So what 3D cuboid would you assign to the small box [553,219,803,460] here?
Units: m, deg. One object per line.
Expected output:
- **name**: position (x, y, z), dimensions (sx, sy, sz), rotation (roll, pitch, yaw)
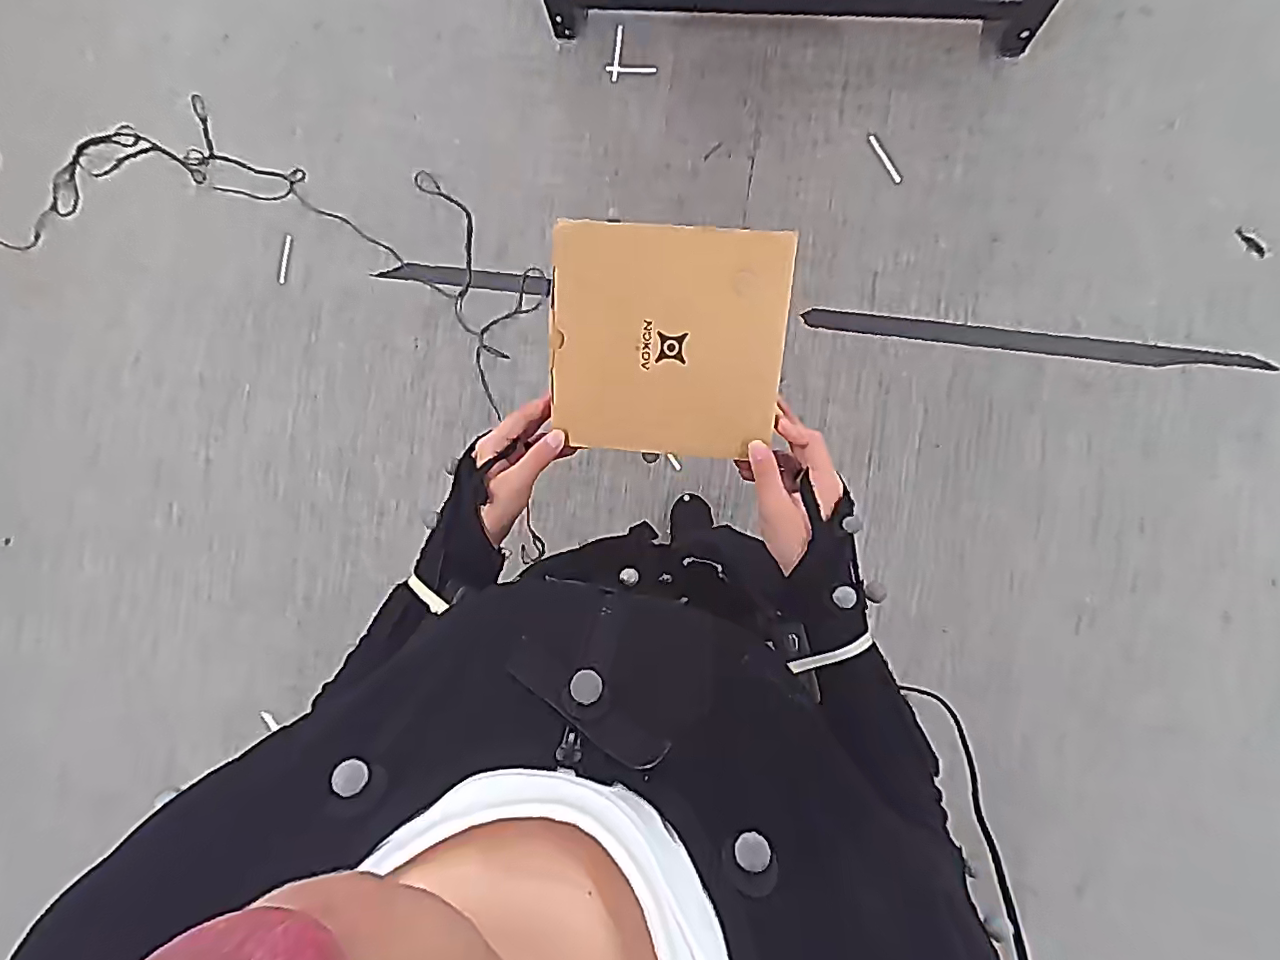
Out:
- **small box**: position (0.030, -0.122, 0.474), dimensions (0.179, 0.176, 0.168), rotation (5, 106, 5)
